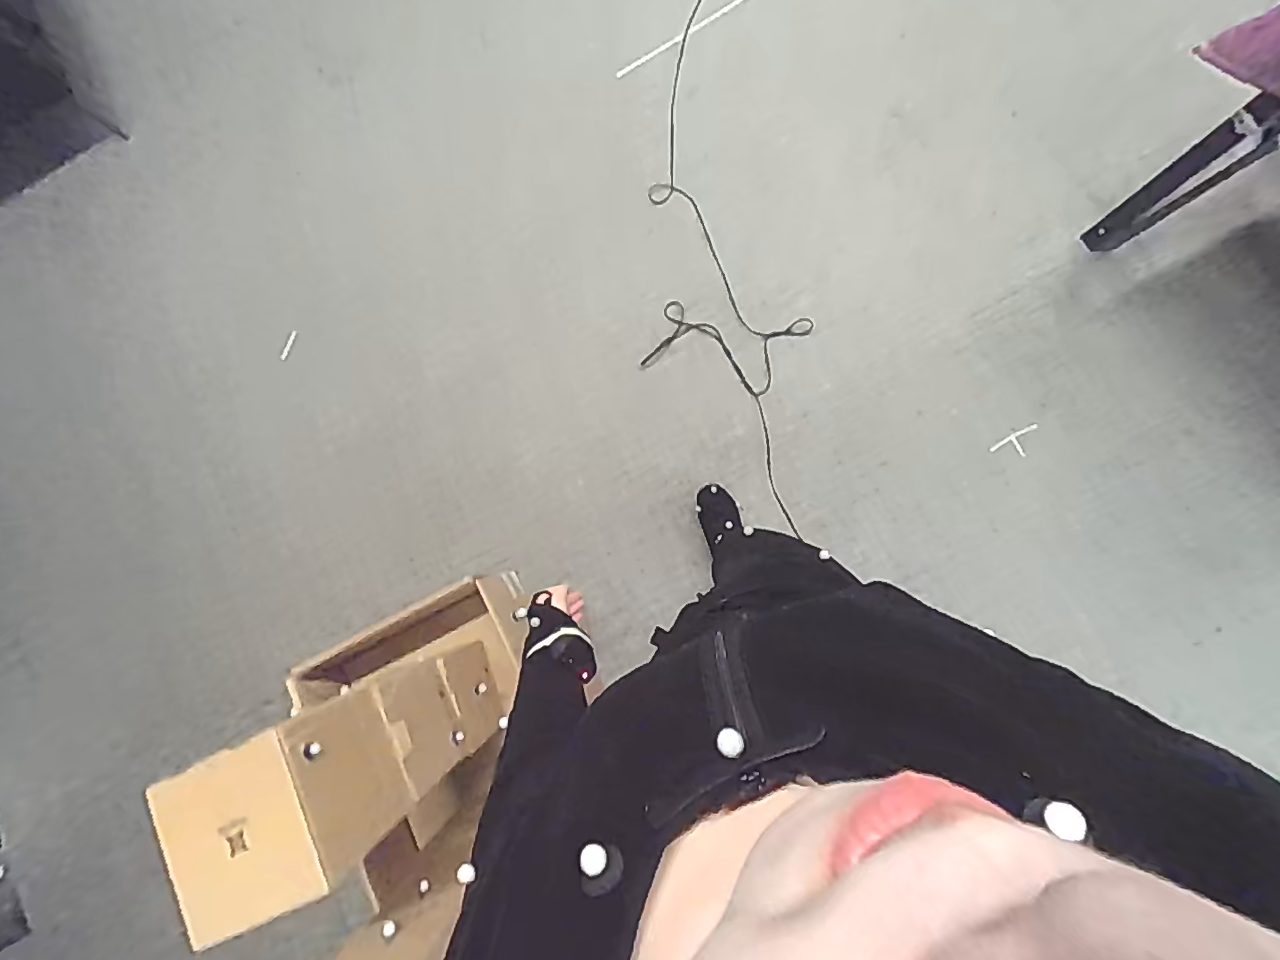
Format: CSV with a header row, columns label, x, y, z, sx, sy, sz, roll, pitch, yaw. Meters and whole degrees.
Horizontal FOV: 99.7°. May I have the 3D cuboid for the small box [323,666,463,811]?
label,x,y,z,sx,sy,sz,roll,pitch,yaw
small box,-0.389,0.401,0.808,0.179,0.176,0.168,-25,83,4

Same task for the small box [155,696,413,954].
label,x,y,z,sx,sy,sz,roll,pitch,yaw
small box,-0.407,0.391,0.647,0.168,0.176,0.179,-26,82,4

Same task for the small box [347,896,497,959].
label,x,y,z,sx,sy,sz,roll,pitch,yaw
small box,-0.259,0.629,0.605,0.168,0.176,0.179,-24,82,3
